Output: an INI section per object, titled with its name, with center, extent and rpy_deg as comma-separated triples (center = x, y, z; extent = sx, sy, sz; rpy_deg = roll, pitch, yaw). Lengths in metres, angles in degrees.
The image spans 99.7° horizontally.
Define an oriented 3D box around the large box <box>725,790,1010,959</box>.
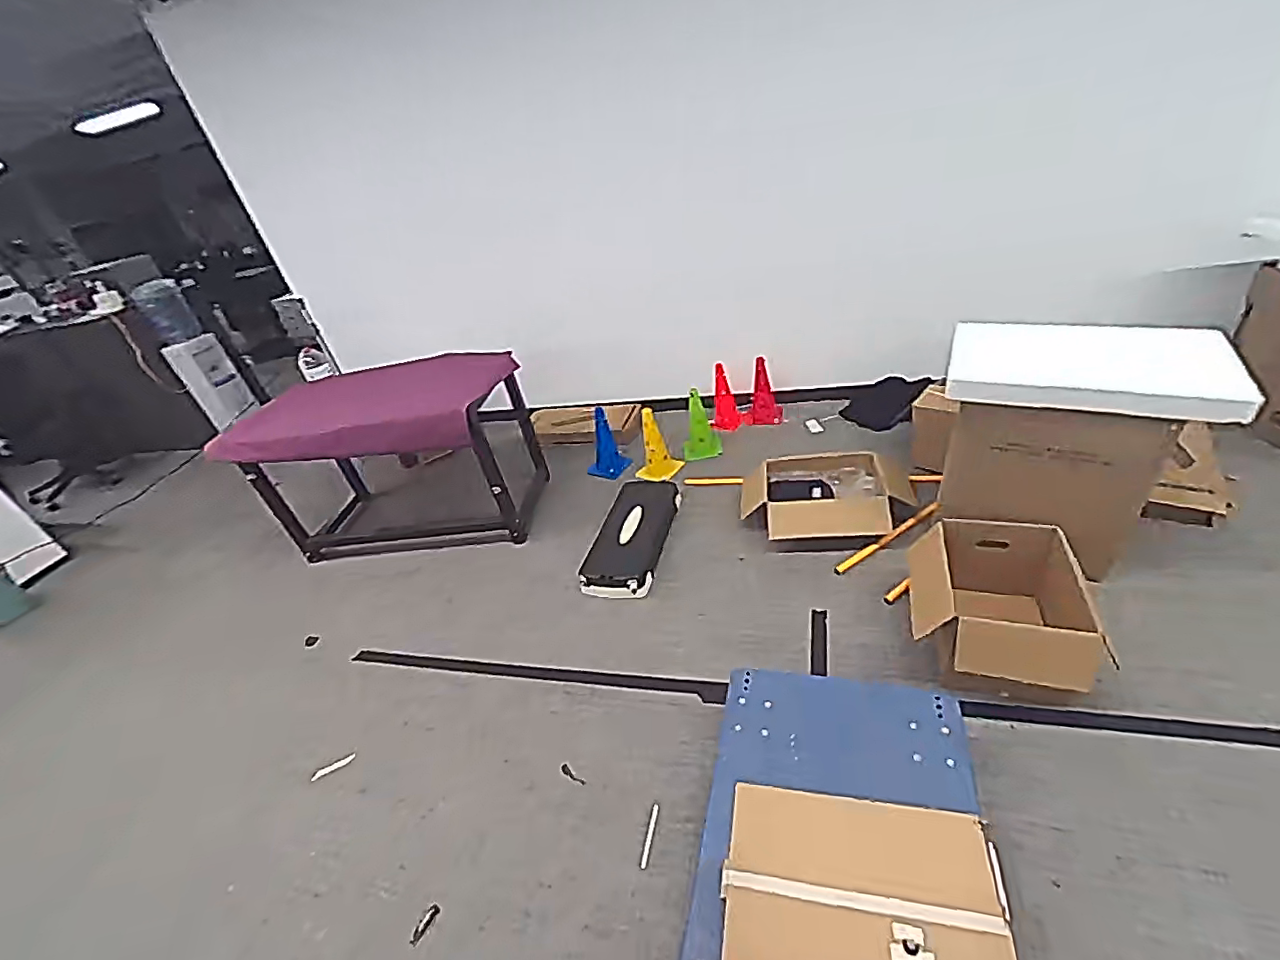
[large box]
center = 0.363, 0.787, 0.925
extent = 0.408, 0.320, 0.320
rpy_deg = -1, 35, 16
